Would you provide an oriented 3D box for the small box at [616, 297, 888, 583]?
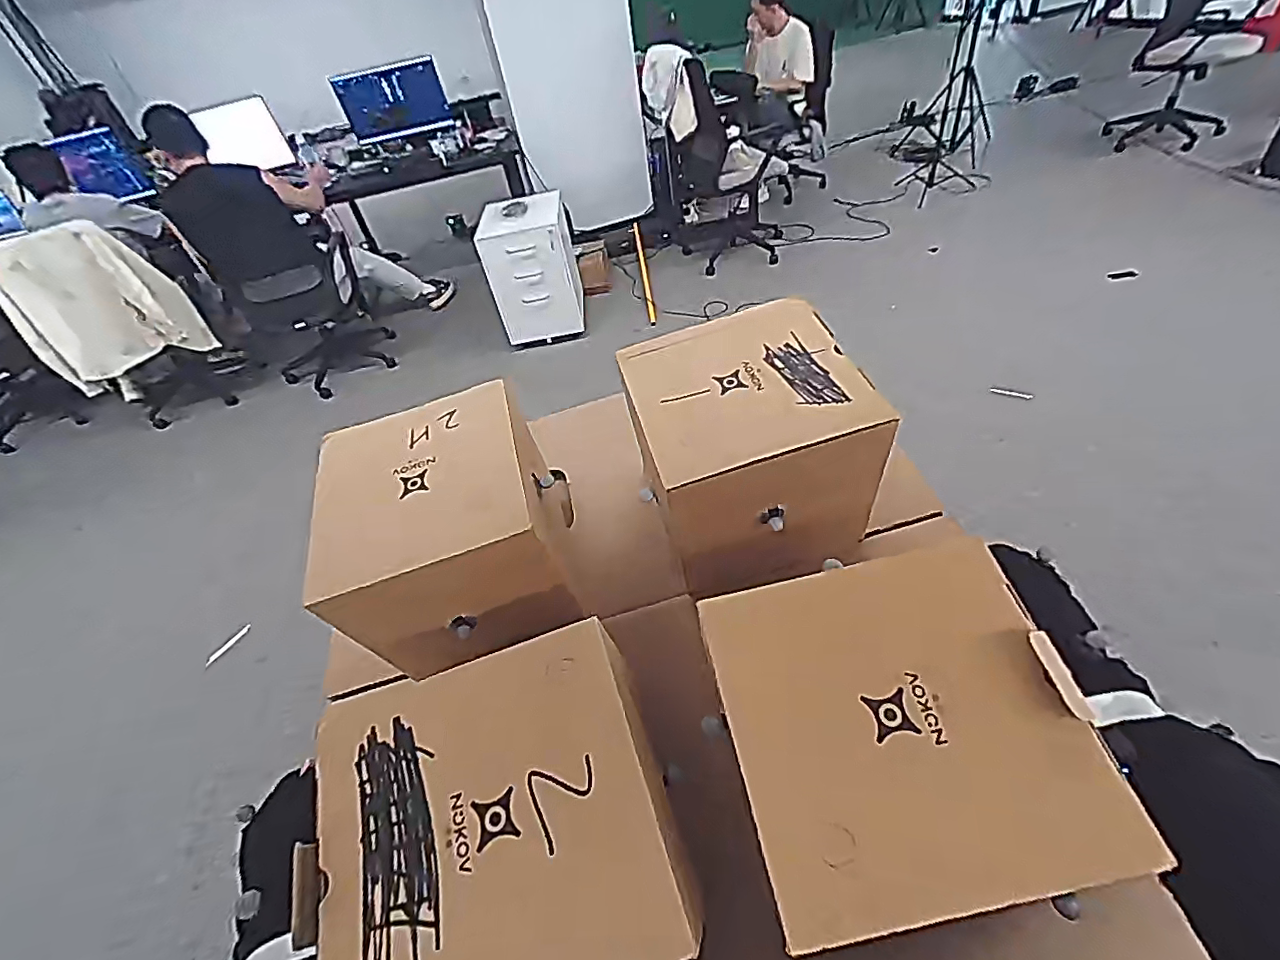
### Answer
[{"bbox_3d":[0.091,-0.030,0.496,0.179,0.176,0.168,-17,52,0],"label":"small box"}]

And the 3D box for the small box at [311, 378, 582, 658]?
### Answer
[{"bbox_3d":[-0.161,0.044,0.495,0.168,0.176,0.179,-18,51,-2],"label":"small box"}]
